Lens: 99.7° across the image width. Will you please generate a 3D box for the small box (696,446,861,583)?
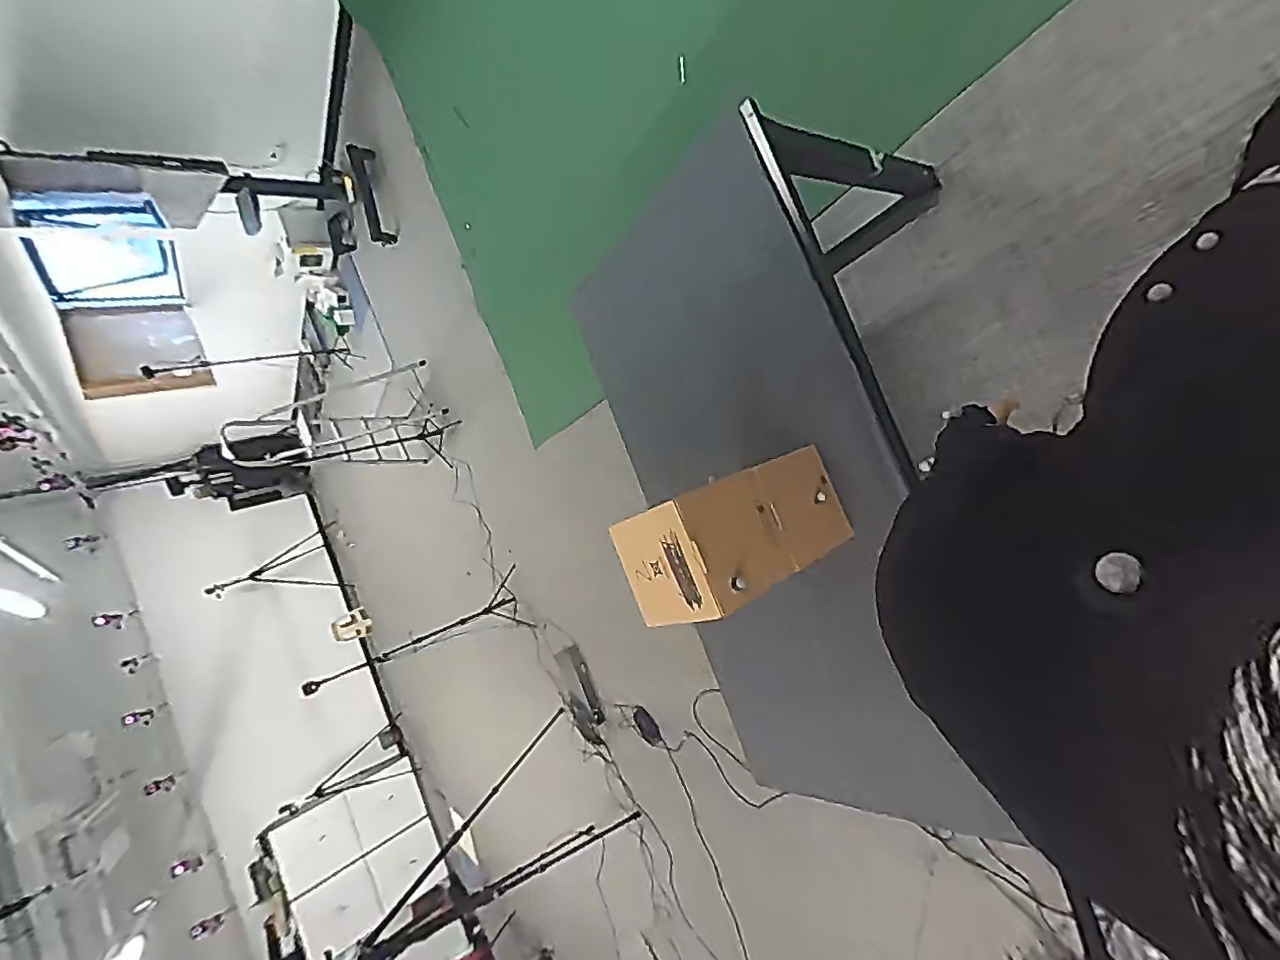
[{"bbox_3d":[0.232,0.058,0.912,0.179,0.176,0.168,-29,83,52],"label":"small box"}]
